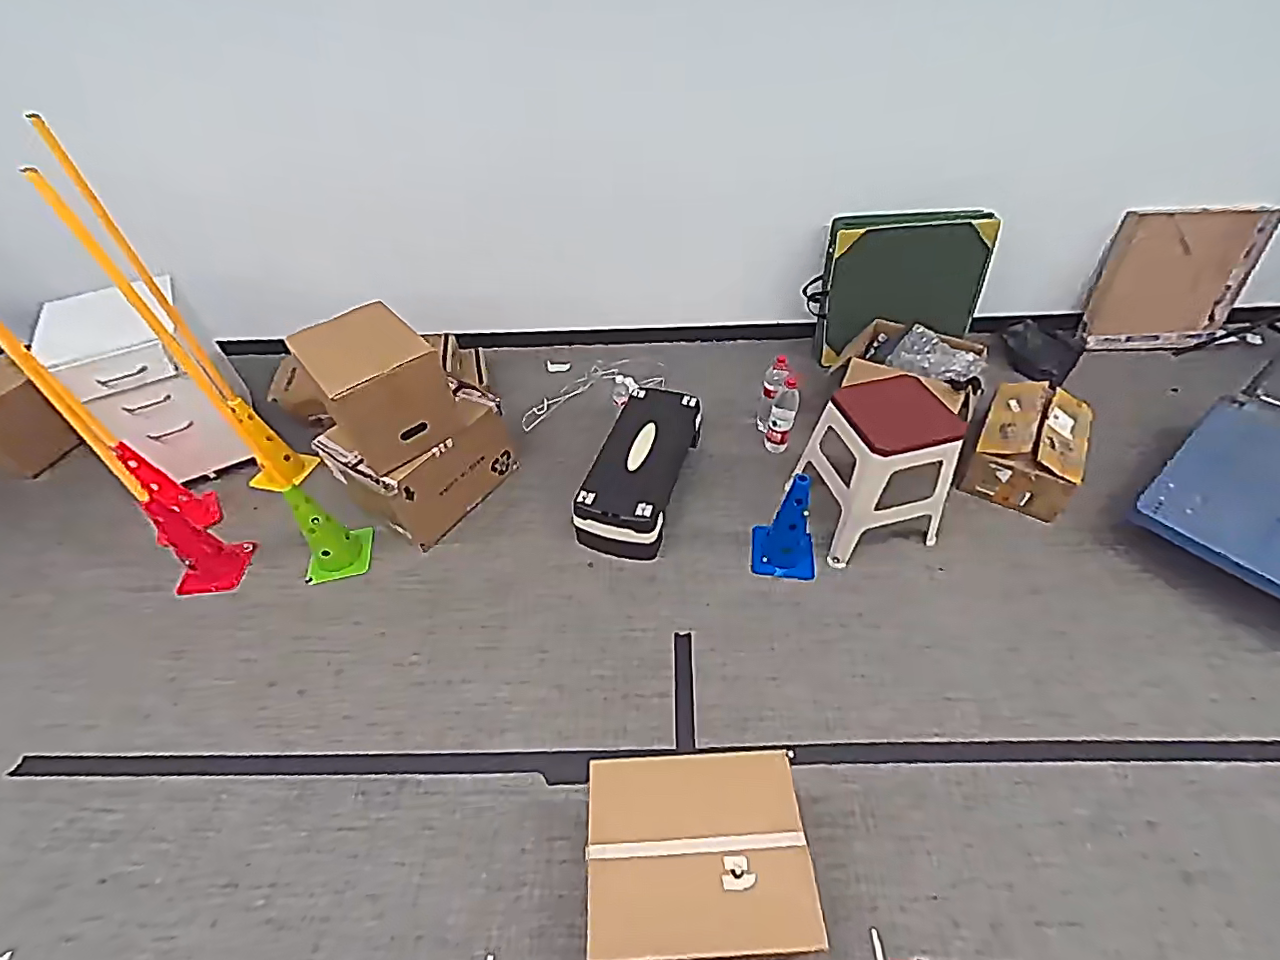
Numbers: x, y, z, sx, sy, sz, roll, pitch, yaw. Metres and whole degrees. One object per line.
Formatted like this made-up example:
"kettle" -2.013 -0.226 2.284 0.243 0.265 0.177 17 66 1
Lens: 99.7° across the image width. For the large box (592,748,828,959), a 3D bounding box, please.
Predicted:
"large box" 0.111 0.775 1.107 0.408 0.320 0.320 -3 47 -1
